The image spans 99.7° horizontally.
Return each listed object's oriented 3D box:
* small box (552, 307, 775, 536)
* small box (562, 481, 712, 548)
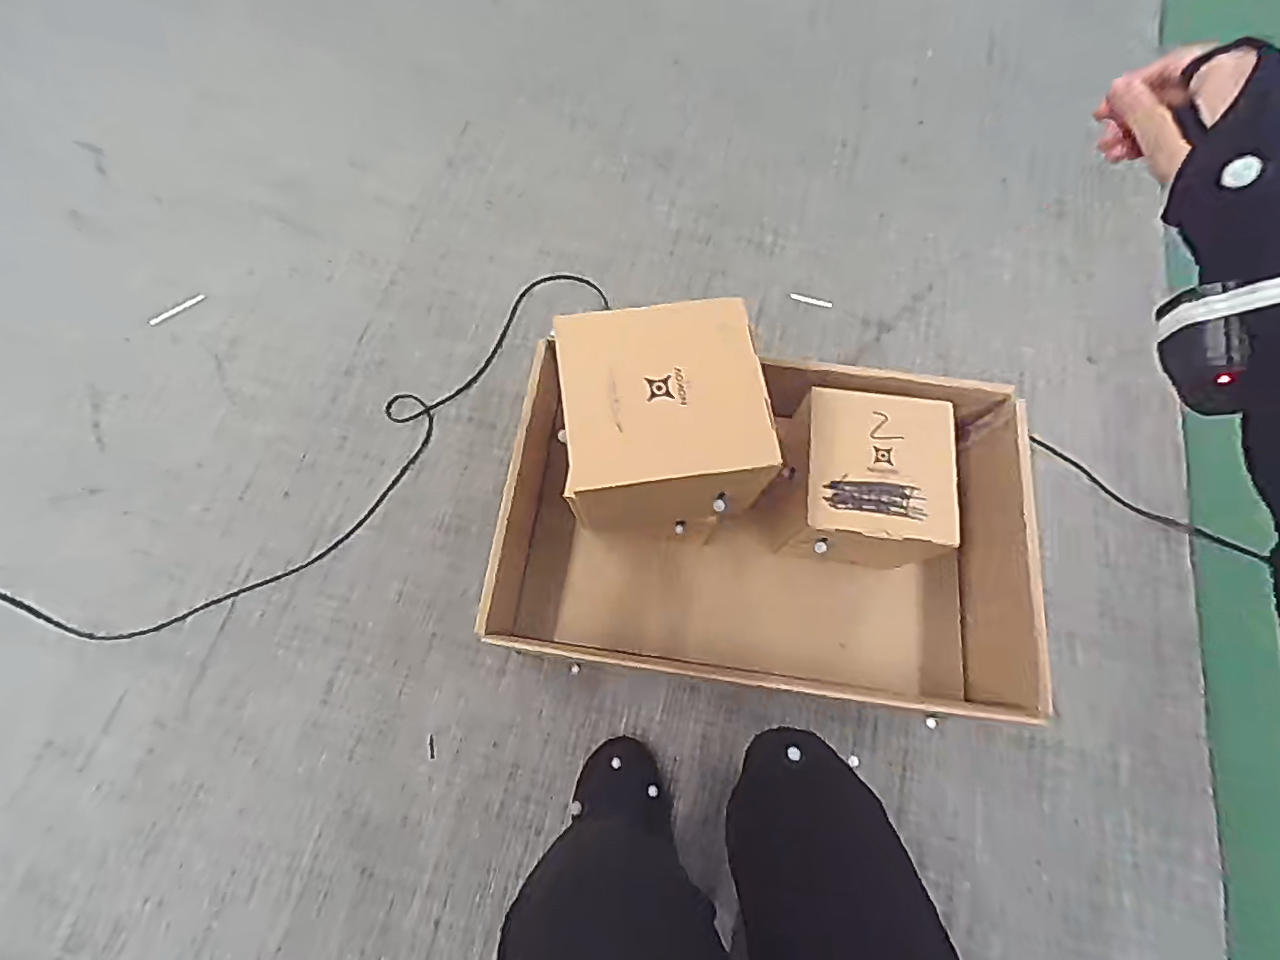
[{"bbox_3d":[0.015,-0.047,0.539,0.179,0.176,0.168,-8,73,-2],"label":"small box"},{"bbox_3d":[0.009,-0.014,0.699,0.179,0.176,0.168,8,73,2],"label":"small box"}]
